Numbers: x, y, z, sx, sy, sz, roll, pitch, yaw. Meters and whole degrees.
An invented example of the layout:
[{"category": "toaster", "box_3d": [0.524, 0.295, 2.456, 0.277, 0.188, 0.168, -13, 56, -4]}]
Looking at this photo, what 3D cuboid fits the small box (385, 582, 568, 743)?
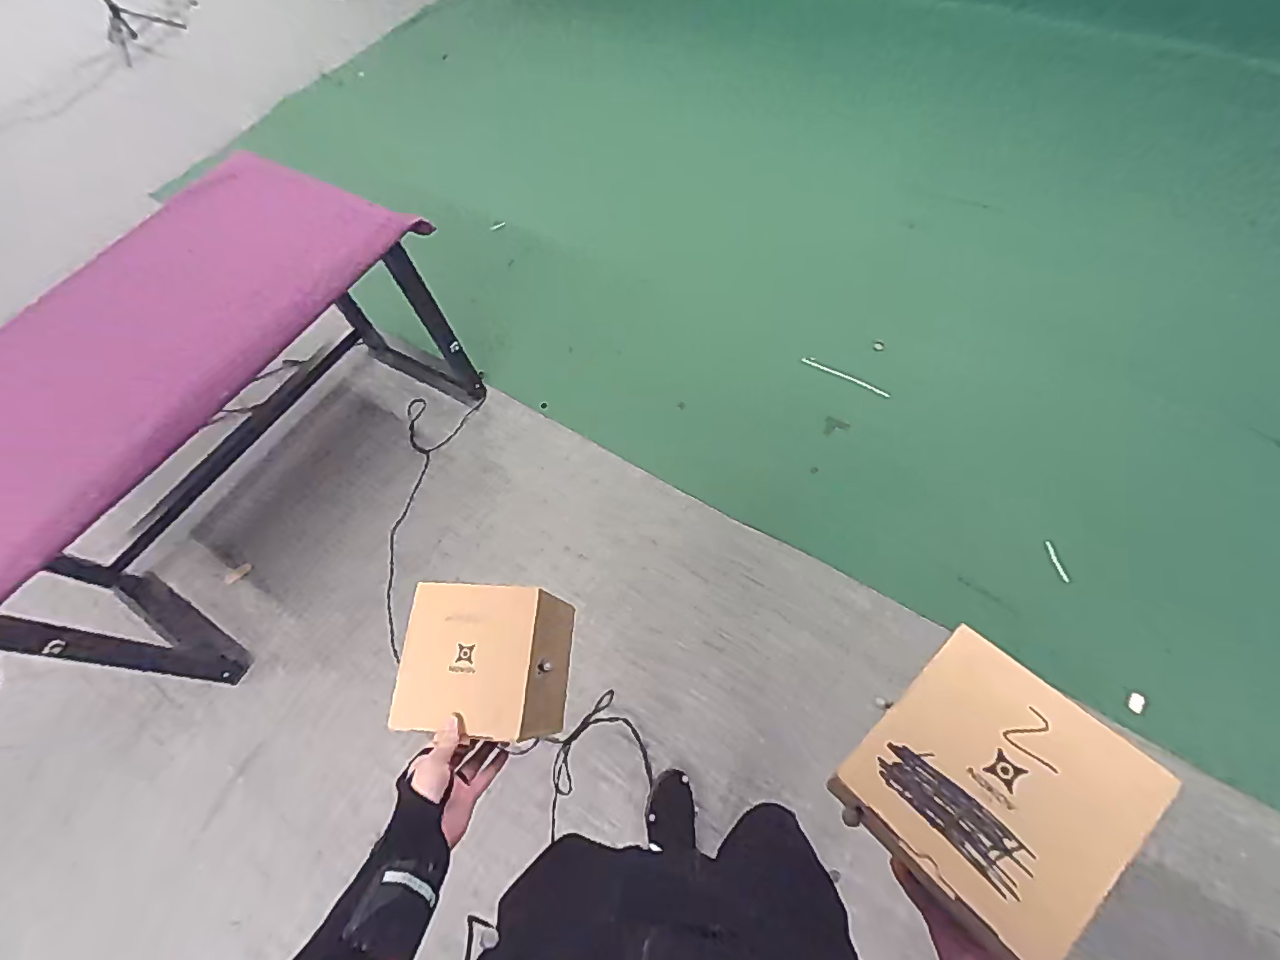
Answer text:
[{"category": "small box", "box_3d": [-0.202, 0.241, 0.723, 0.168, 0.176, 0.179, 1, 69, 9]}]
